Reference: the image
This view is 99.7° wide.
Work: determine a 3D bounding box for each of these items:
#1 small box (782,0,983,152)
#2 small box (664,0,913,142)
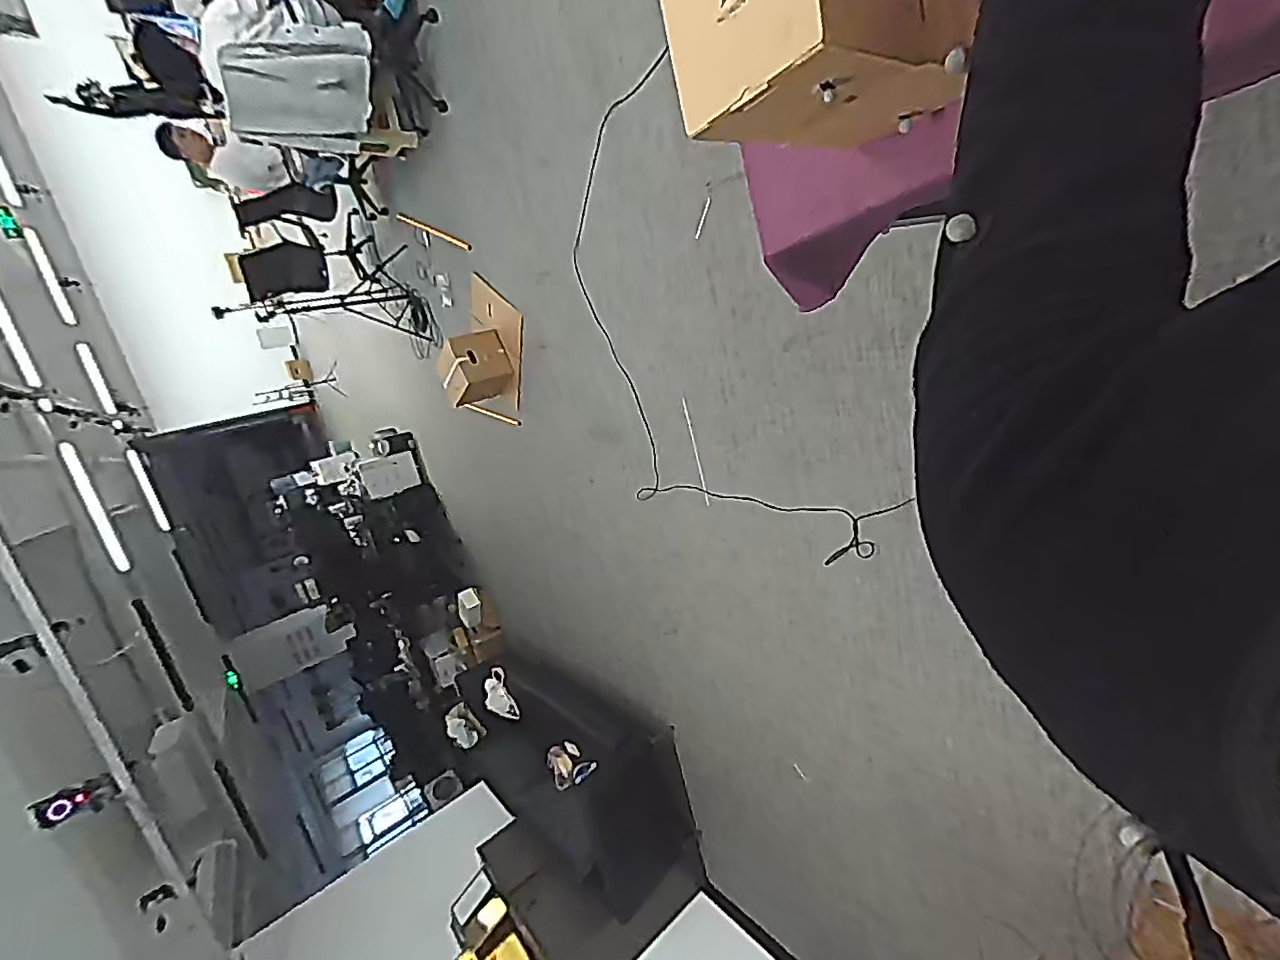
[{"bbox_3d":[0.273,-0.506,0.626,0.179,0.176,0.168,2,109,53],"label":"small box"},{"bbox_3d":[0.146,-0.461,0.533,0.168,0.176,0.179,4,111,53],"label":"small box"}]
